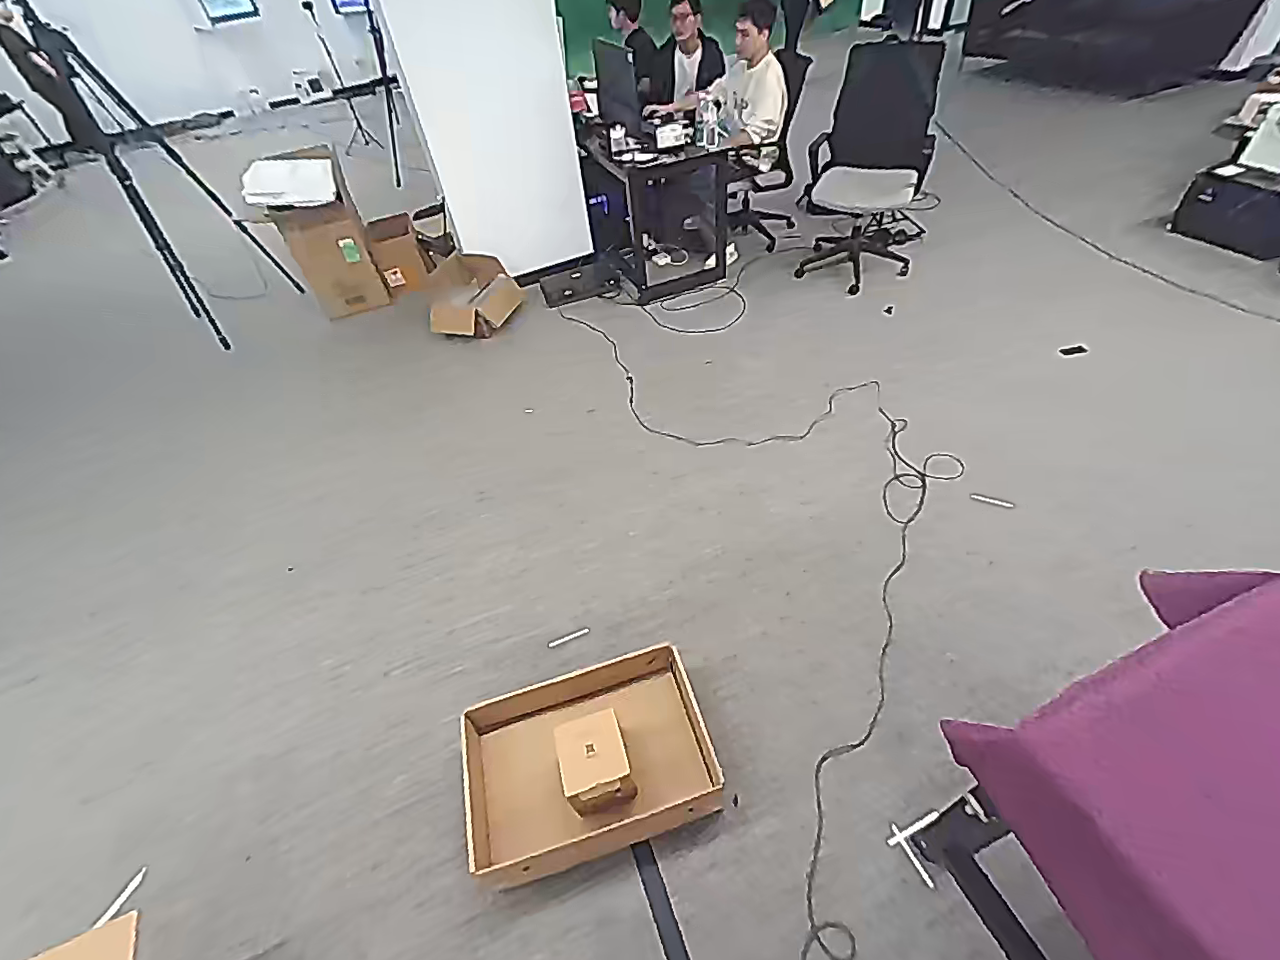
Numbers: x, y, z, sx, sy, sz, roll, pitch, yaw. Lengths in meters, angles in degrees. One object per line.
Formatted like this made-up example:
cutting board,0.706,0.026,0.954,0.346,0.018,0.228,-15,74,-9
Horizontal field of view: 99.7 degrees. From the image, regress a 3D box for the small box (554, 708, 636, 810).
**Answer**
small box,-0.114,0.728,1.399,0.168,0.176,0.179,-16,46,-7
